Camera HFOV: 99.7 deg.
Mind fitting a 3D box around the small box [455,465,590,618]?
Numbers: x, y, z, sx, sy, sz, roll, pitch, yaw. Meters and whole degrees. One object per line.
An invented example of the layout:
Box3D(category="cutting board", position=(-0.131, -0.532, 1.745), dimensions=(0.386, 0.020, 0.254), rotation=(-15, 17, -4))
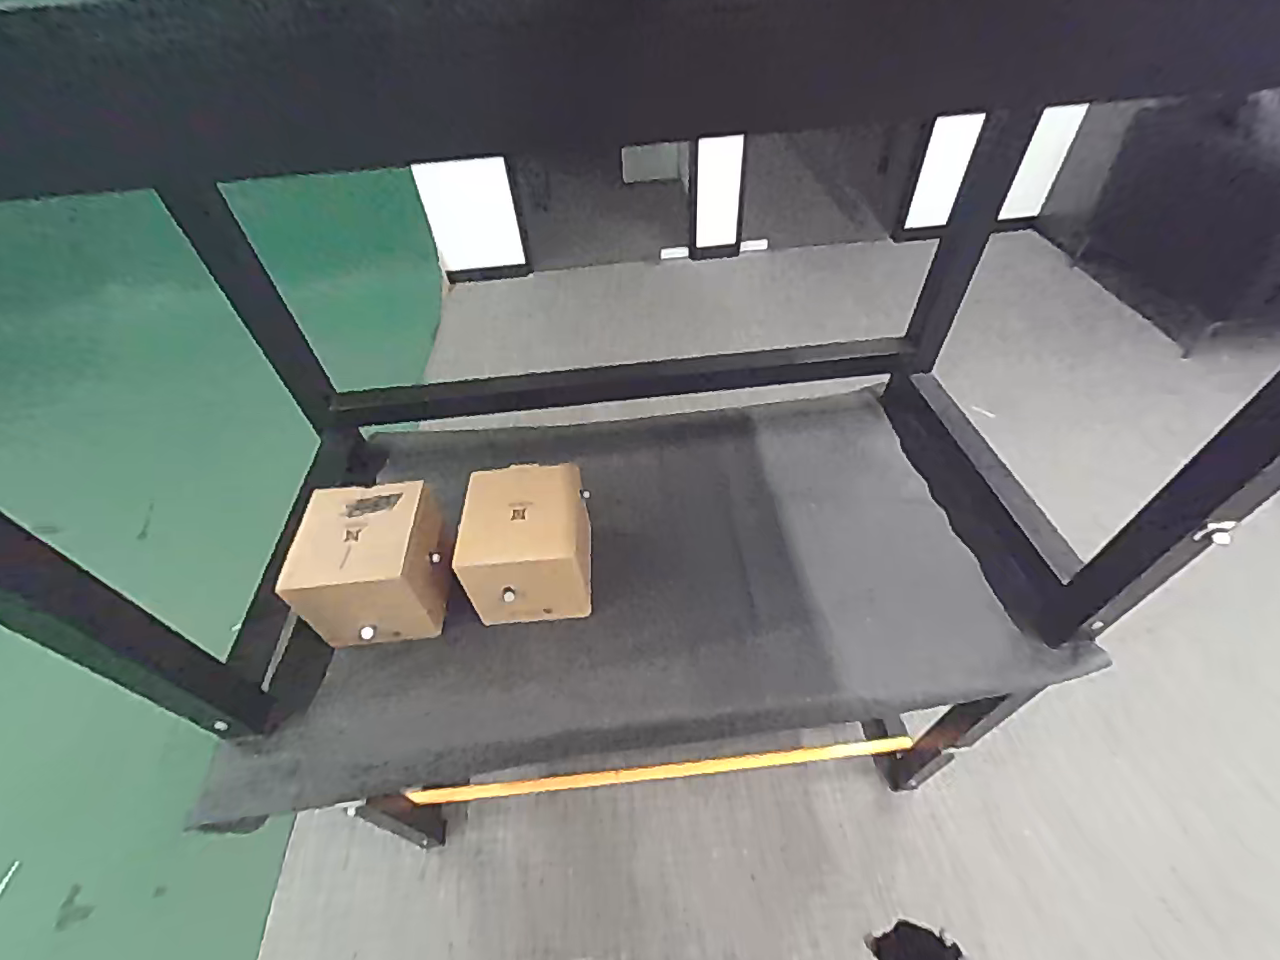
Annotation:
Box3D(category="small box", position=(-0.169, 0.101, 0.836), dimensions=(0.168, 0.176, 0.179), rotation=(-5, 47, -1))

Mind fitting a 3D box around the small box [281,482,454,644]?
Box3D(category="small box", position=(-0.394, 0.127, 0.823), dimensions=(0.168, 0.176, 0.179), rotation=(-5, 48, -1))
